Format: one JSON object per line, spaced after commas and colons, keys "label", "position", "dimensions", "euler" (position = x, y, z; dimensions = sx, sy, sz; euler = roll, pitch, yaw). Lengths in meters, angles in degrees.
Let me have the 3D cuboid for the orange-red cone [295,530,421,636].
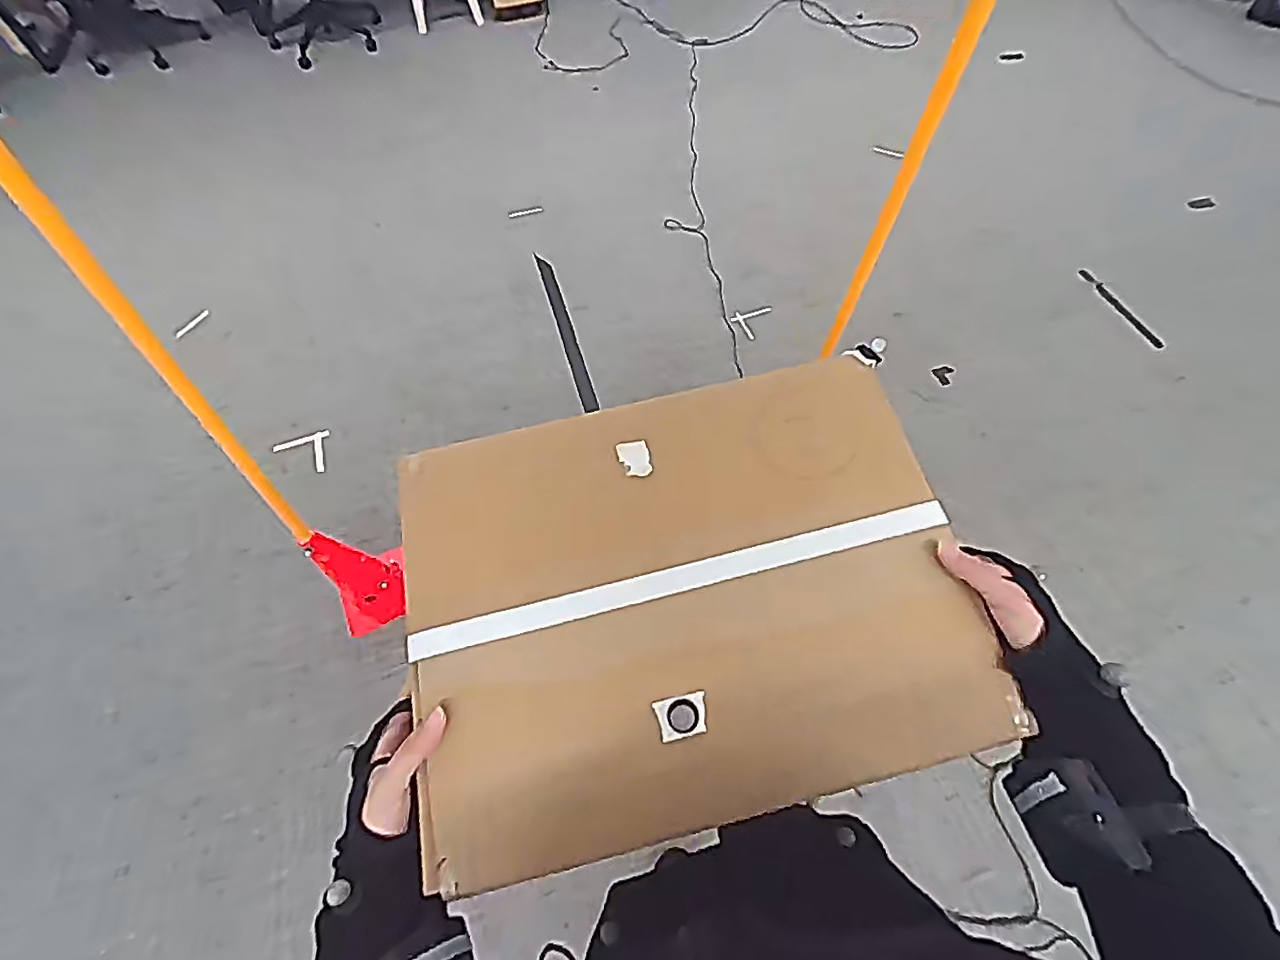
{"label": "orange-red cone", "position": [-0.708, 0.212, 1.299], "dimensions": [0.199, 0.360, 0.198], "euler": [-25, 61, -10]}
